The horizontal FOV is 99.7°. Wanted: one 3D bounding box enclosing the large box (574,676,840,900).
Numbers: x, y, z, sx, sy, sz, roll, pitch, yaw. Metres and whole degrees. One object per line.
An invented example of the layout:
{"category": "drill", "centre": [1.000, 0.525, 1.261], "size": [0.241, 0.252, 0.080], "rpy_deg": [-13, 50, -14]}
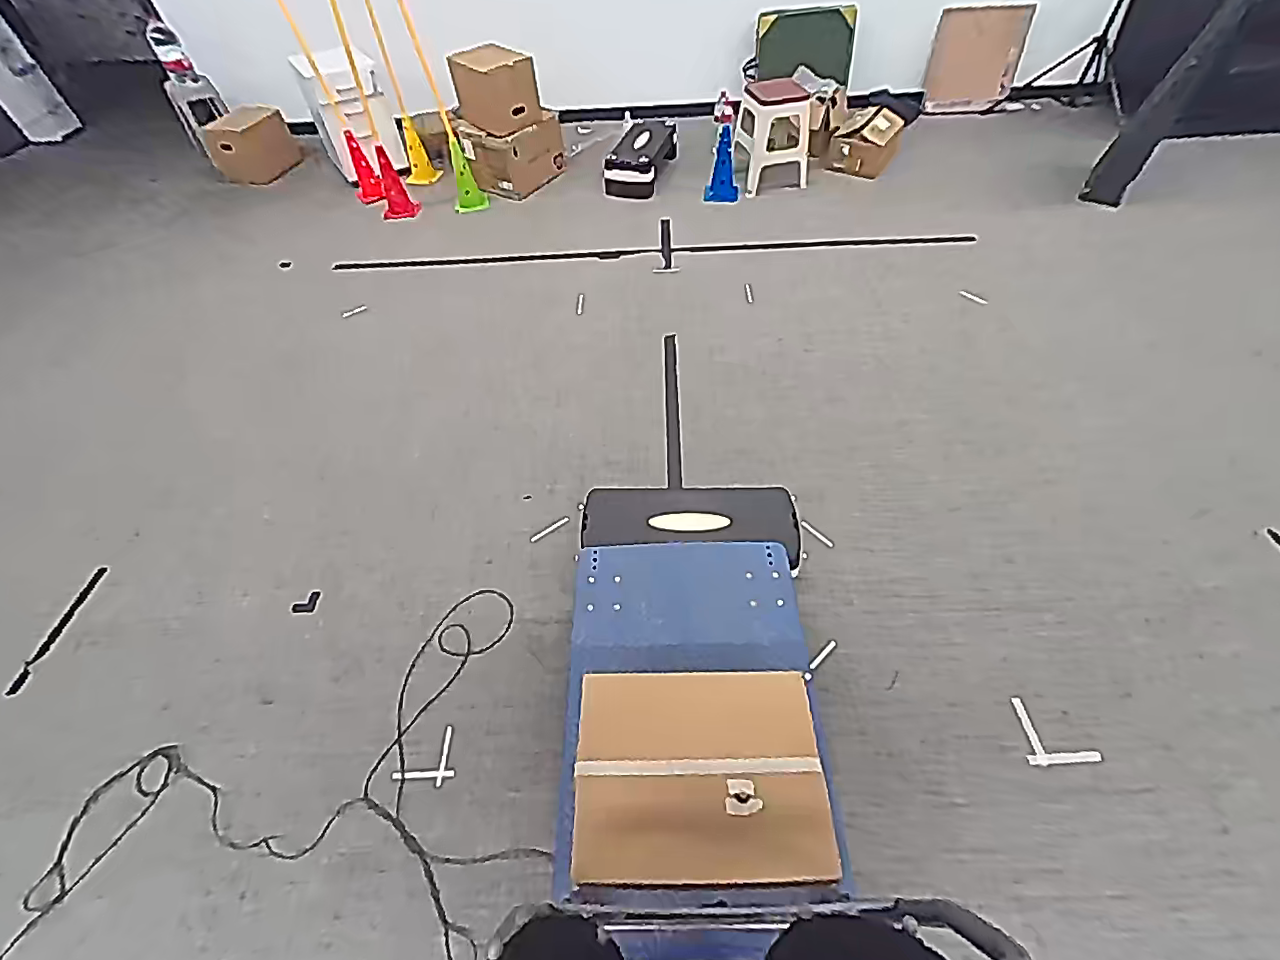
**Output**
{"category": "large box", "centre": [0.098, 0.575, 1.003], "size": [0.408, 0.320, 0.320], "rpy_deg": [-1, 52, 1]}
